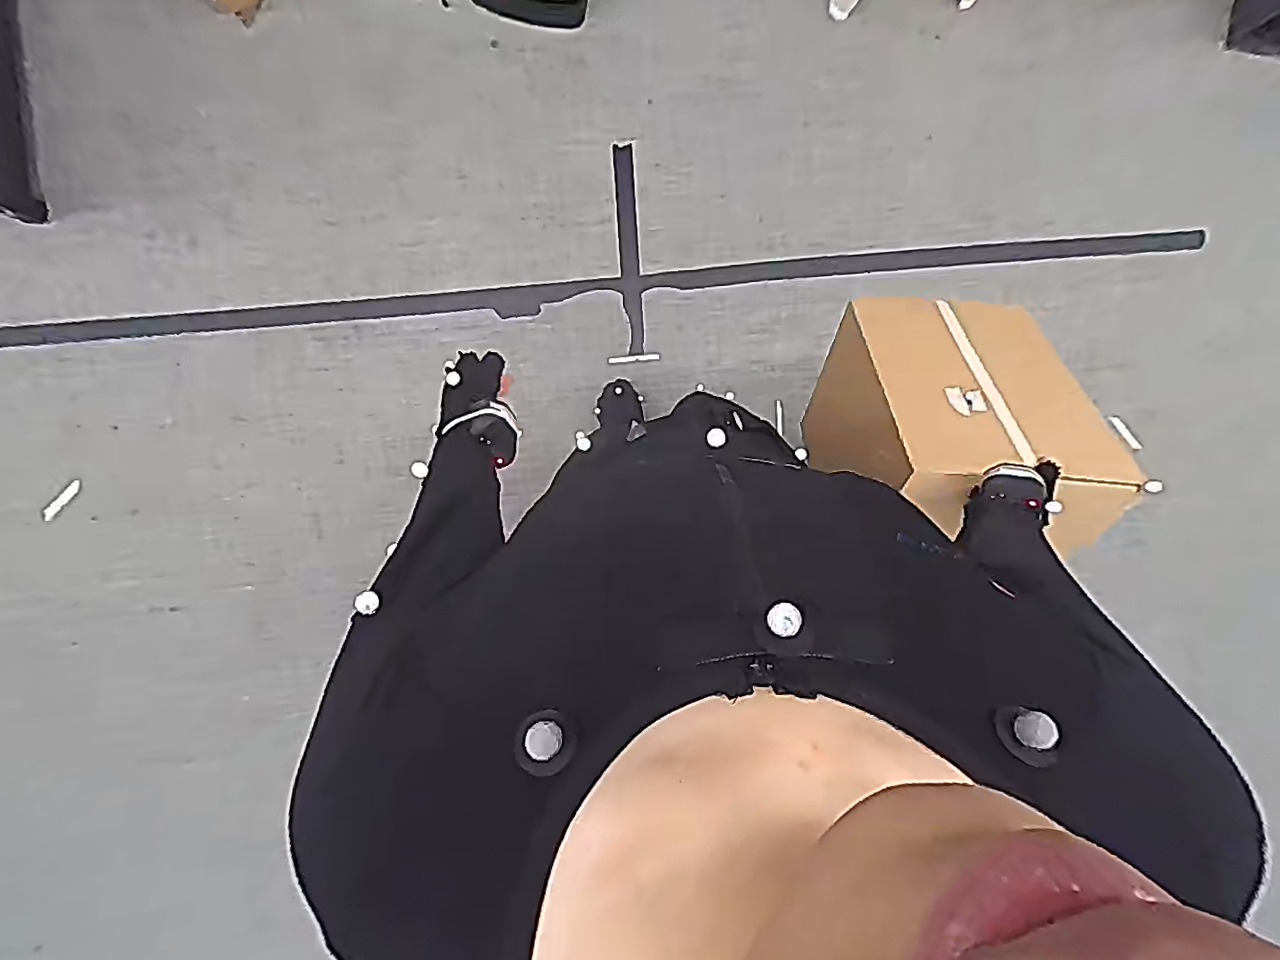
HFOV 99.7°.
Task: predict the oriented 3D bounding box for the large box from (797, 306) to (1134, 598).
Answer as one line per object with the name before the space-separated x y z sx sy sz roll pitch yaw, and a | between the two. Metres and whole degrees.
large box | 0.499 -0.049 0.951 0.320 0.408 0.320 4 141 -2
